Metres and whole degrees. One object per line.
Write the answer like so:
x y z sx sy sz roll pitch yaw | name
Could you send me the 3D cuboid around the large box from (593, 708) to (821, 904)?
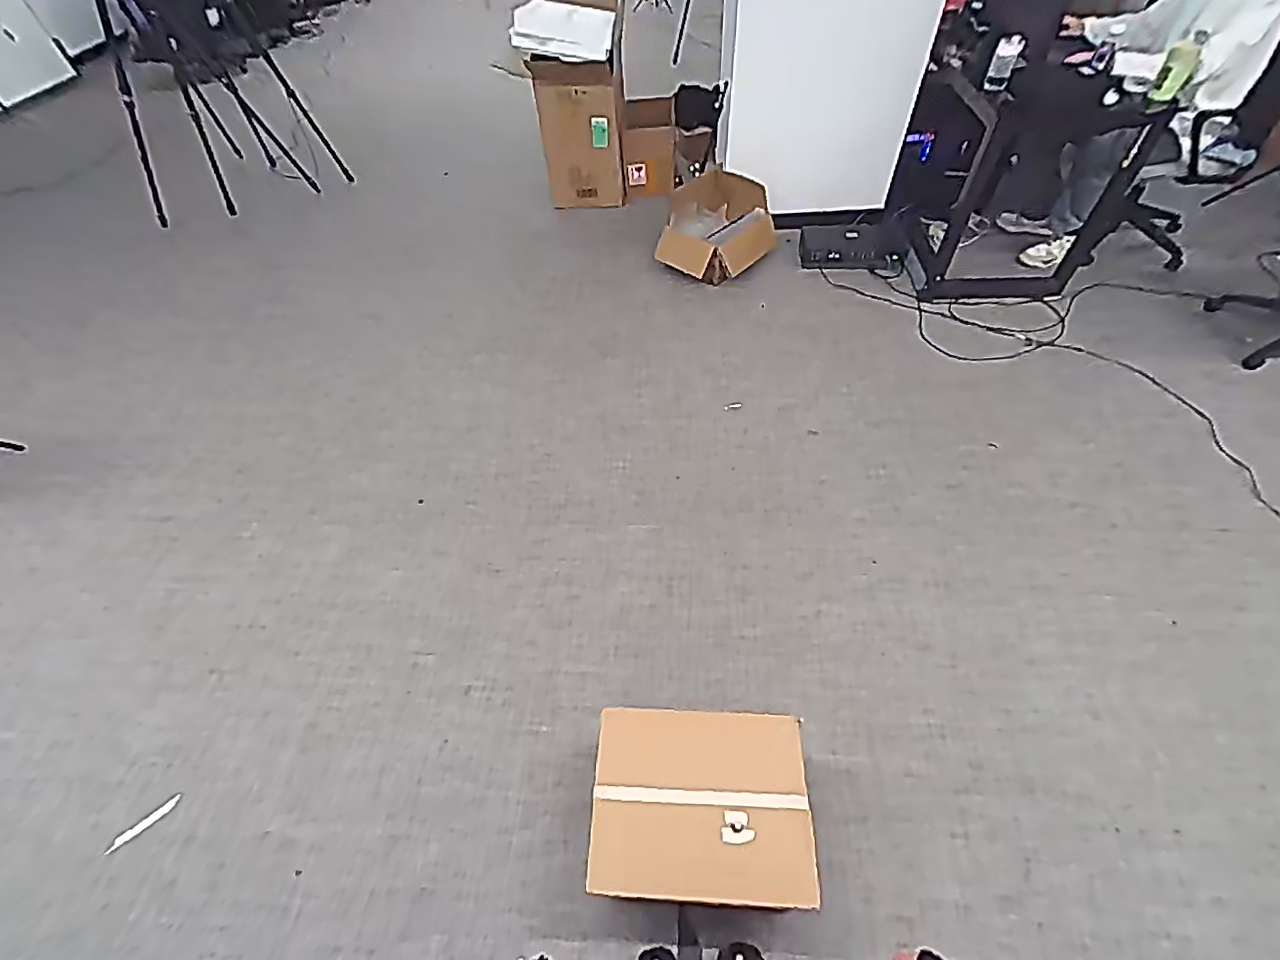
0.124 0.691 1.142 0.408 0.320 0.320 1 53 4 | large box
